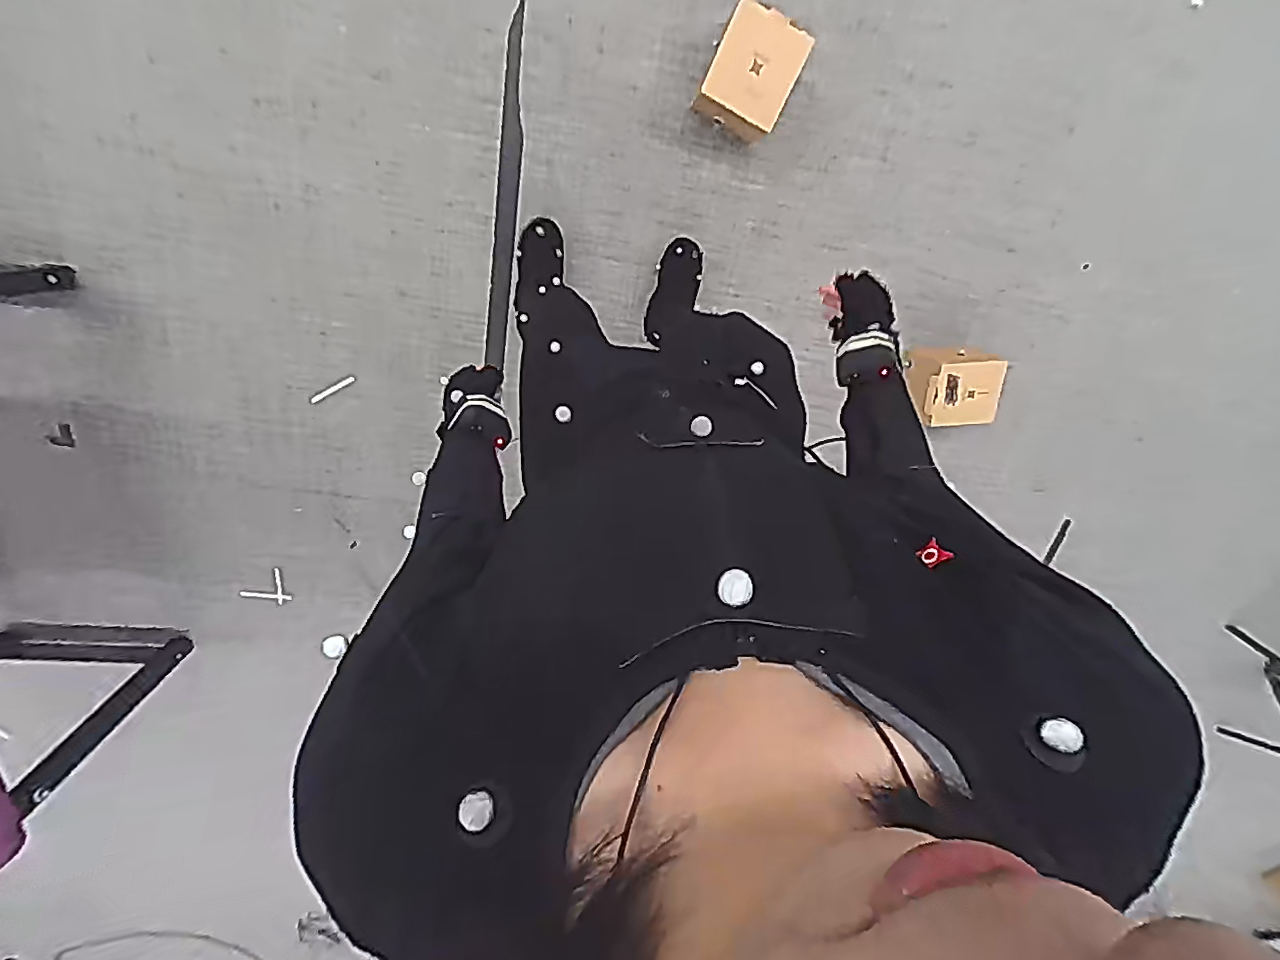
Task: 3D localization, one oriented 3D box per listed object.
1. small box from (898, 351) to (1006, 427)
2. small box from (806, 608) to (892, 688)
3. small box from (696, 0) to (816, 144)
[{"bbox_3d":[0.818,-0.246,1.439,0.179,0.176,0.168,-3,115,-3],"label":"small box"},{"bbox_3d":[0.687,0.553,1.798,0.179,0.176,0.168,22,111,-13],"label":"small box"},{"bbox_3d":[0.230,-0.841,1.131,0.168,0.176,0.179,23,112,-12],"label":"small box"}]
